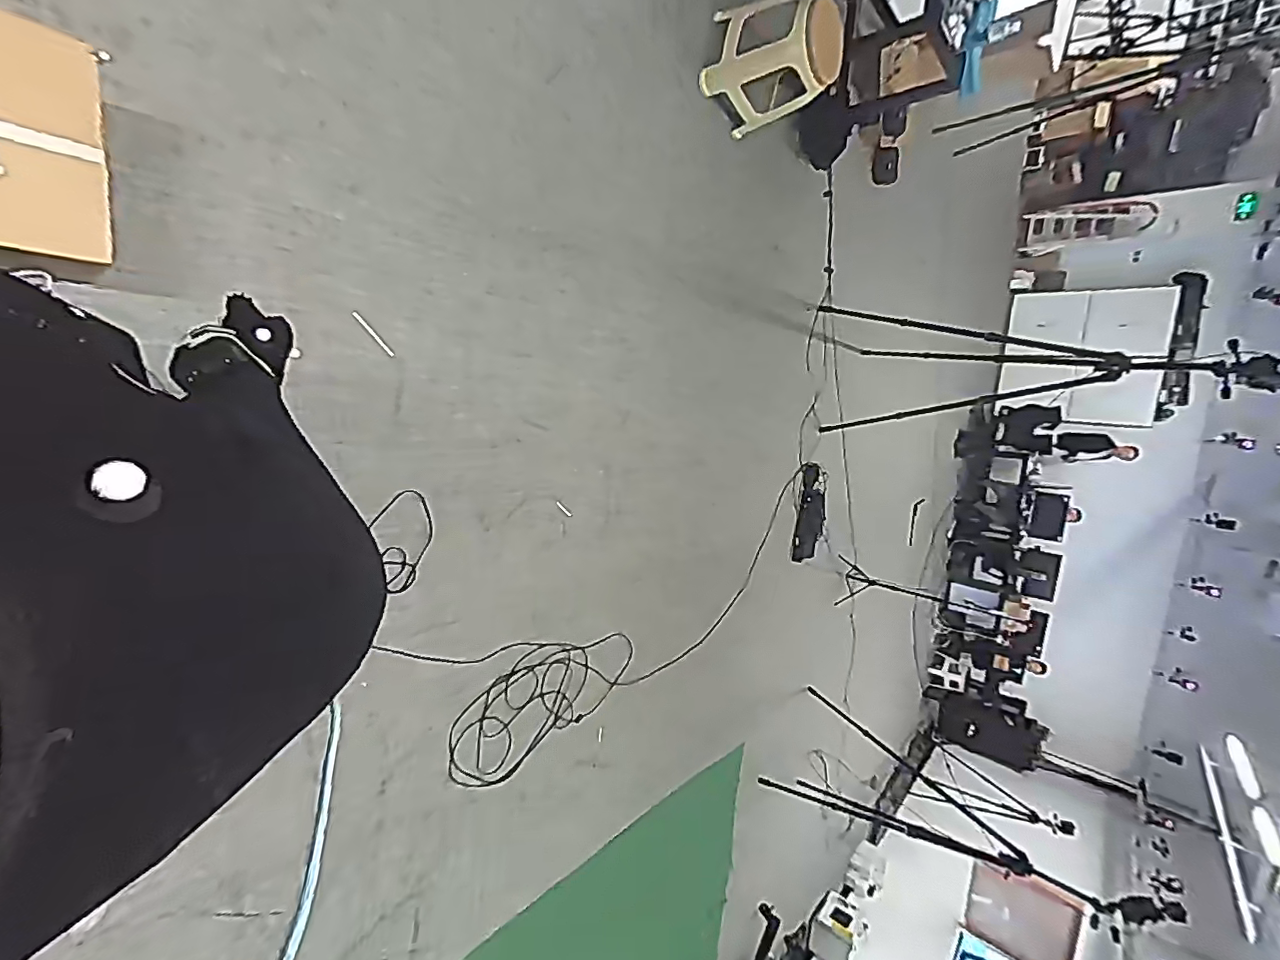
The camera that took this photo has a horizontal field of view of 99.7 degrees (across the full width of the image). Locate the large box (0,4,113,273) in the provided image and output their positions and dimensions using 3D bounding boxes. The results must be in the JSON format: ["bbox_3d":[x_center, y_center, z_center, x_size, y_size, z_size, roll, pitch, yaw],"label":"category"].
[{"bbox_3d":[-1.063,-0.510,0.774,0.408,0.320,0.320,-5,103,-49],"label":"large box"}]
